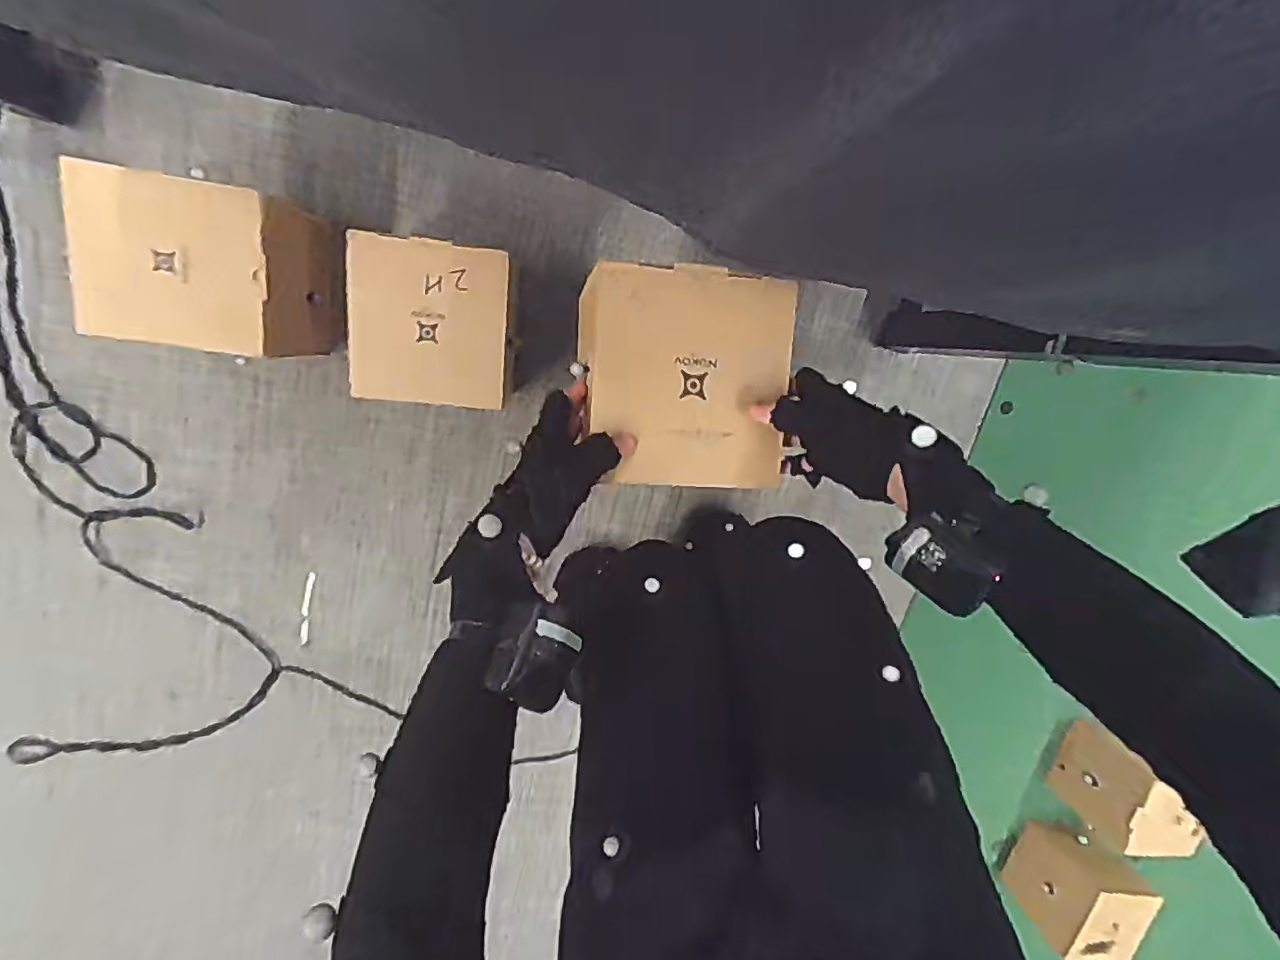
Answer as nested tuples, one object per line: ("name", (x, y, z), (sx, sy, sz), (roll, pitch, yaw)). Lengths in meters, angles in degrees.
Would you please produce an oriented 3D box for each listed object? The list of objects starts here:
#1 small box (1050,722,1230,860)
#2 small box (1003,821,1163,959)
("small box", (0.973, 0.608, 1.071), (0.179, 0.176, 0.168), (10, 104, -10))
("small box", (0.910, 0.860, 1.132), (0.168, 0.176, 0.179), (13, 103, -12))
